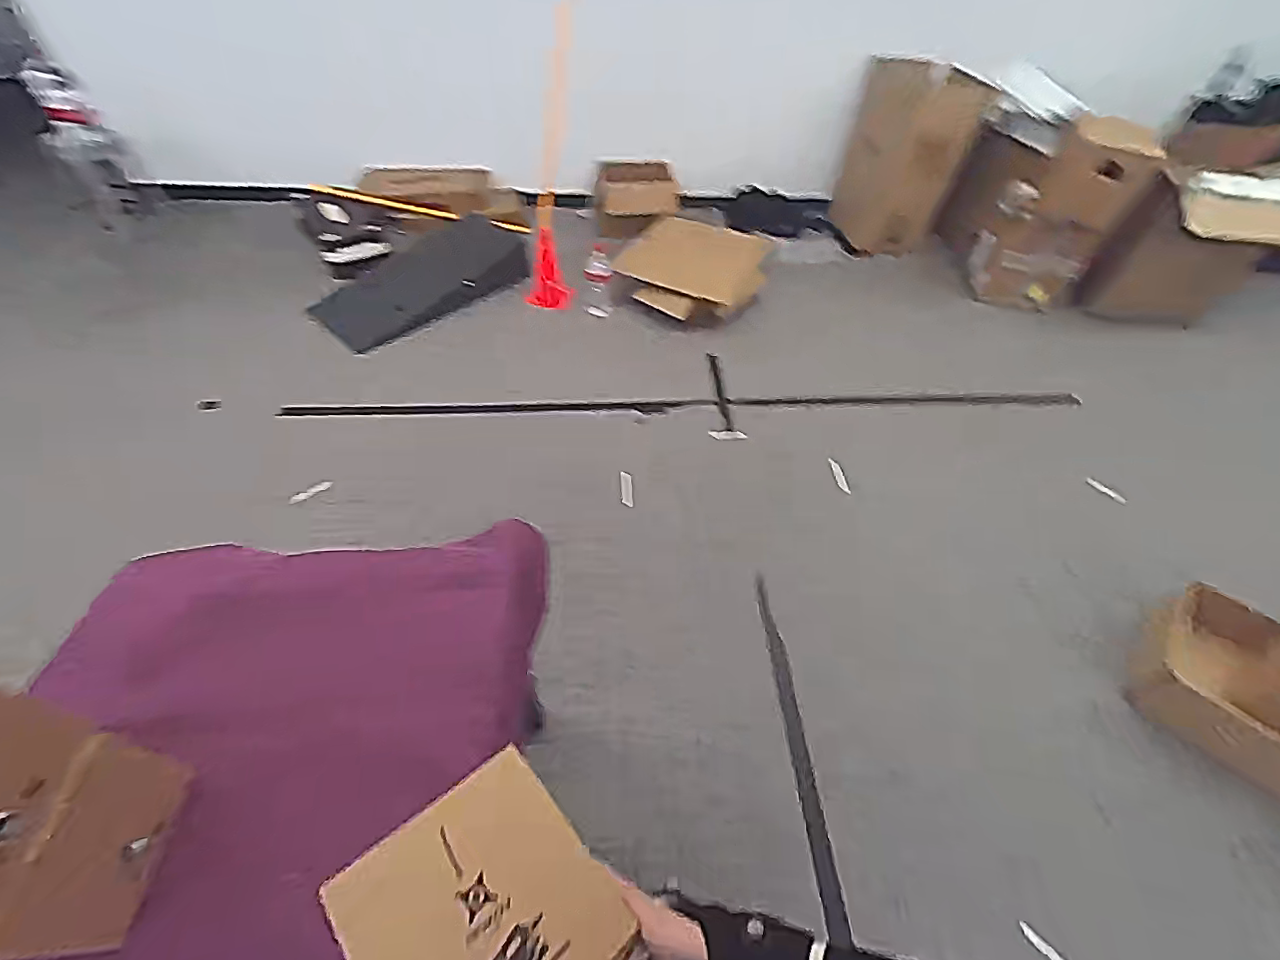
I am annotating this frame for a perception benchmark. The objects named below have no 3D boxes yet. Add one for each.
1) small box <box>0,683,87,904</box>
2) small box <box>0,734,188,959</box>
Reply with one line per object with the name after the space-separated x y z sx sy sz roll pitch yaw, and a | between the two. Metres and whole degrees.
-0.616 0.255 0.417 0.179 0.176 0.168 -2 51 -7 | small box
-0.619 0.365 0.536 0.179 0.176 0.168 0 50 -5 | small box
